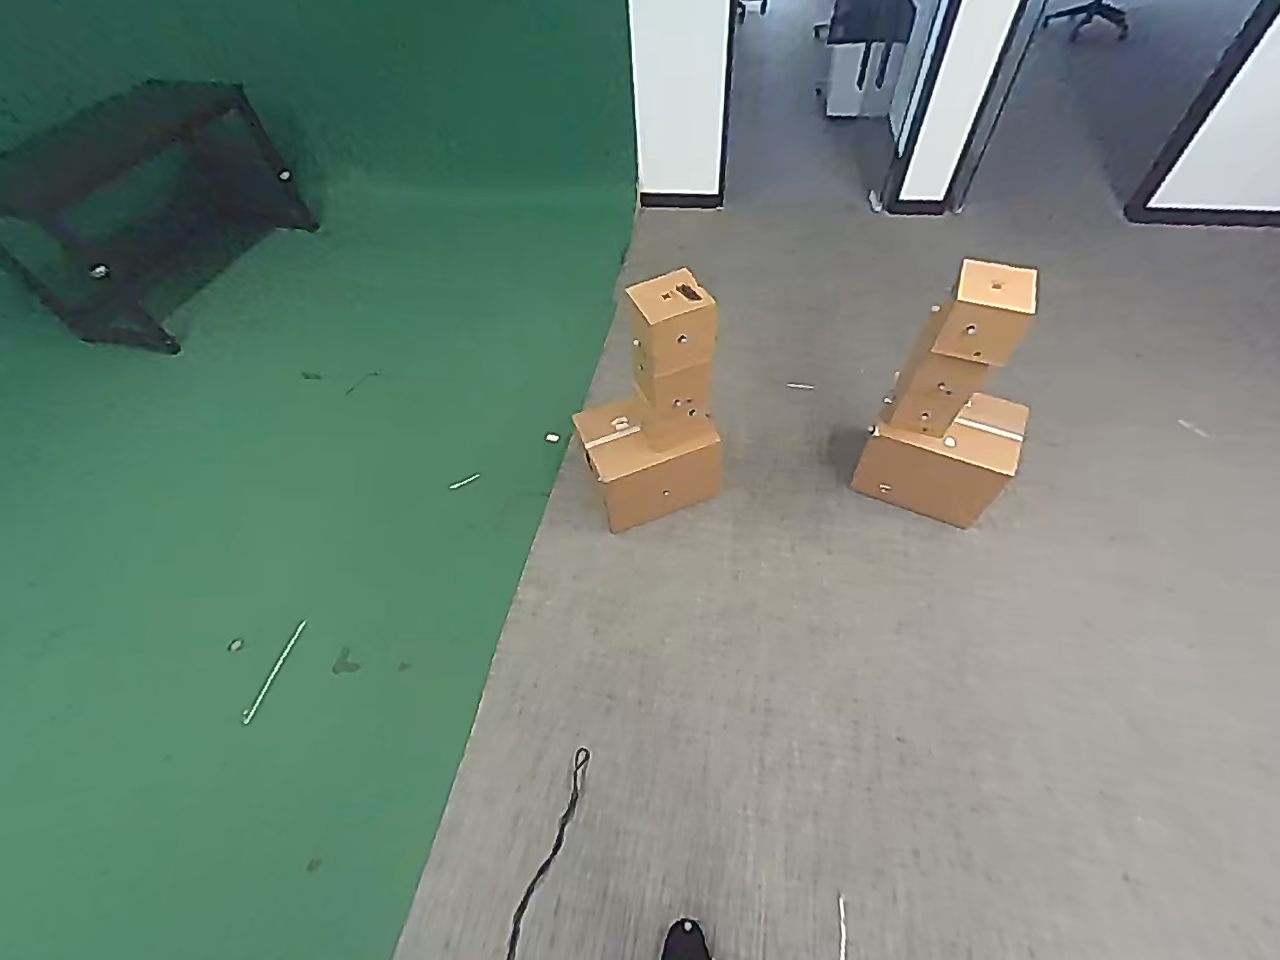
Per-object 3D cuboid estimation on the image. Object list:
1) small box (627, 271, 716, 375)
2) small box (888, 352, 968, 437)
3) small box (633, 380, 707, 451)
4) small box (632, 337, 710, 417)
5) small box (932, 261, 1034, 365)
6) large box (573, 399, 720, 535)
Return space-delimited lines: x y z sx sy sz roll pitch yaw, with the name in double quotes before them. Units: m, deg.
"small box" 0.080 -0.404 1.401 0.179 0.176 0.168 -22 55 -10
"small box" 0.871 -0.257 1.644 0.168 0.176 0.179 15 57 14
"small box" 0.090 -0.219 1.668 0.179 0.176 0.168 -21 55 -11
"small box" 0.085 -0.310 1.534 0.168 0.176 0.179 -20 55 -10
"small box" 0.853 -0.415 1.355 0.168 0.176 0.179 17 57 16
"large box" 0.026 -0.069 1.869 0.408 0.320 0.320 -21 53 -10
